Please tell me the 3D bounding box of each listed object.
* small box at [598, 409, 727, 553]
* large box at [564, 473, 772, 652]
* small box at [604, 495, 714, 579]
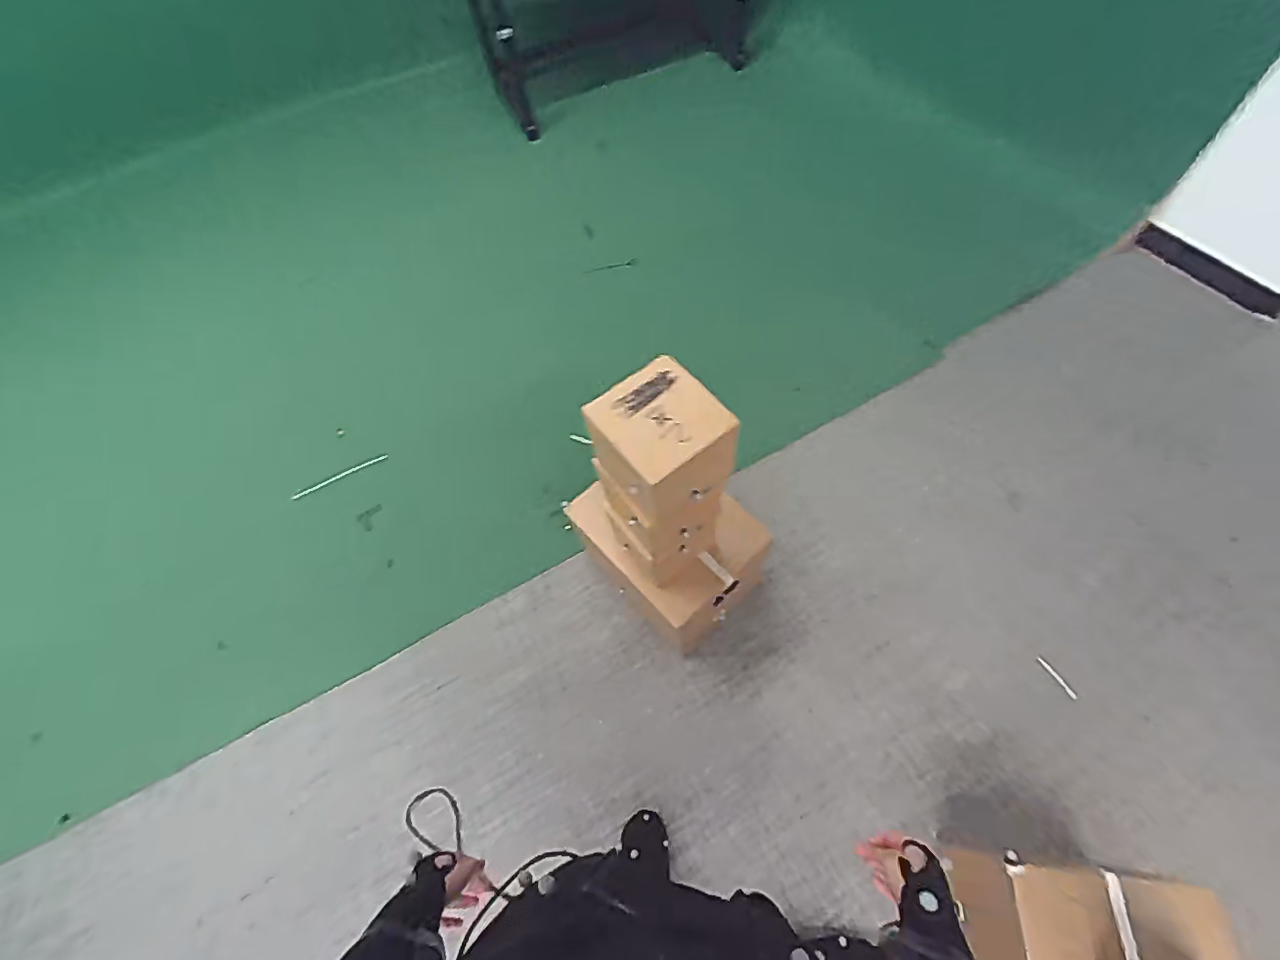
[{"bbox_3d":[0.042,0.006,1.017,0.168,0.176,0.179,-34,65,-12],"label":"small box"},{"bbox_3d":[0.075,0.166,1.393,0.320,0.320,0.408,-40,64,-16],"label":"large box"},{"bbox_3d":[0.048,0.085,1.159,0.179,0.176,0.168,-35,64,-13],"label":"small box"}]
